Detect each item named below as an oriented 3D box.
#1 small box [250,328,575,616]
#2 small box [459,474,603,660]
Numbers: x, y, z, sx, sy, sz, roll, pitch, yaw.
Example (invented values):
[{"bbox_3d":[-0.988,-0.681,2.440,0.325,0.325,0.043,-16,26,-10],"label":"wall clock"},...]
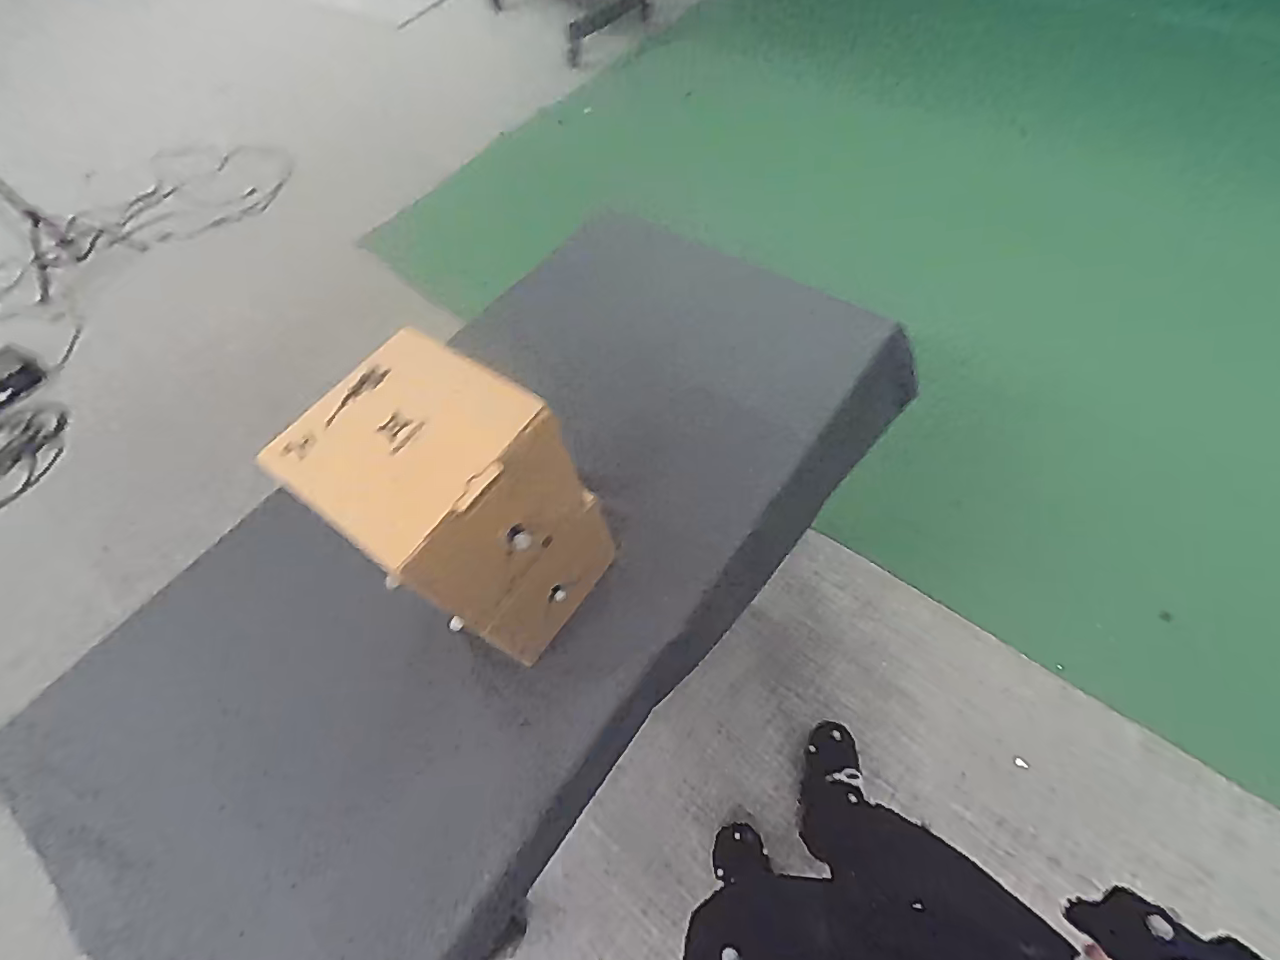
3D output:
[{"bbox_3d":[-0.182,0.004,0.489,0.179,0.176,0.168,31,69,21],"label":"small box"},{"bbox_3d":[-0.157,0.080,0.632,0.168,0.176,0.179,27,66,19],"label":"small box"}]
